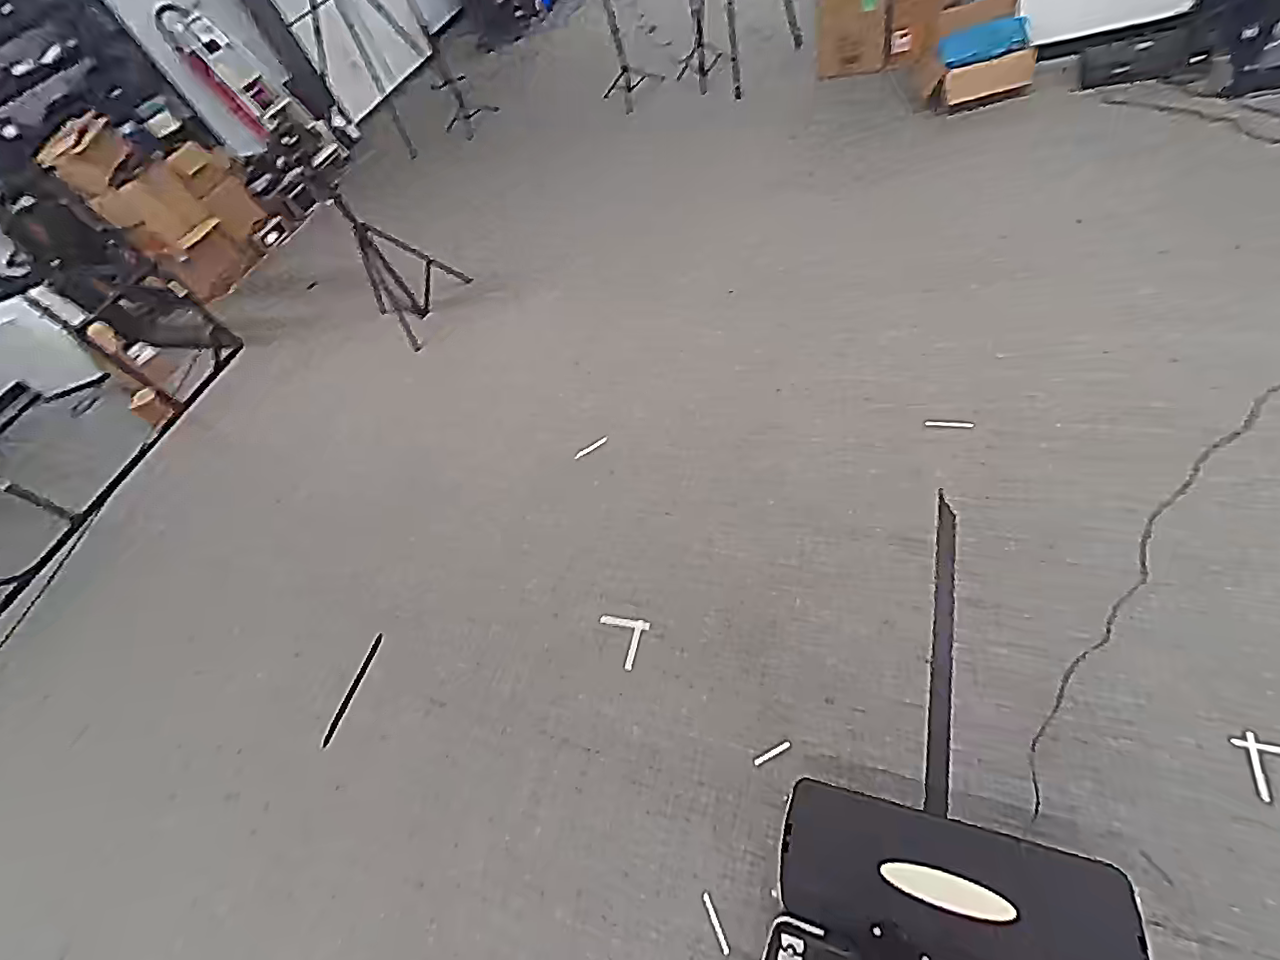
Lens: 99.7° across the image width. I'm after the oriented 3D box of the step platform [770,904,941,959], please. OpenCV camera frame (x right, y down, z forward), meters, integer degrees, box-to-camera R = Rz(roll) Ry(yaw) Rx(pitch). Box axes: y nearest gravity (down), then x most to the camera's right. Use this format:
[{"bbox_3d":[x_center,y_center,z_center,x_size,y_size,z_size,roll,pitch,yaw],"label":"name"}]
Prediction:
[{"bbox_3d":[0.578,1.064,0.993,0.684,0.204,0.286,3,57,24],"label":"step platform"}]
